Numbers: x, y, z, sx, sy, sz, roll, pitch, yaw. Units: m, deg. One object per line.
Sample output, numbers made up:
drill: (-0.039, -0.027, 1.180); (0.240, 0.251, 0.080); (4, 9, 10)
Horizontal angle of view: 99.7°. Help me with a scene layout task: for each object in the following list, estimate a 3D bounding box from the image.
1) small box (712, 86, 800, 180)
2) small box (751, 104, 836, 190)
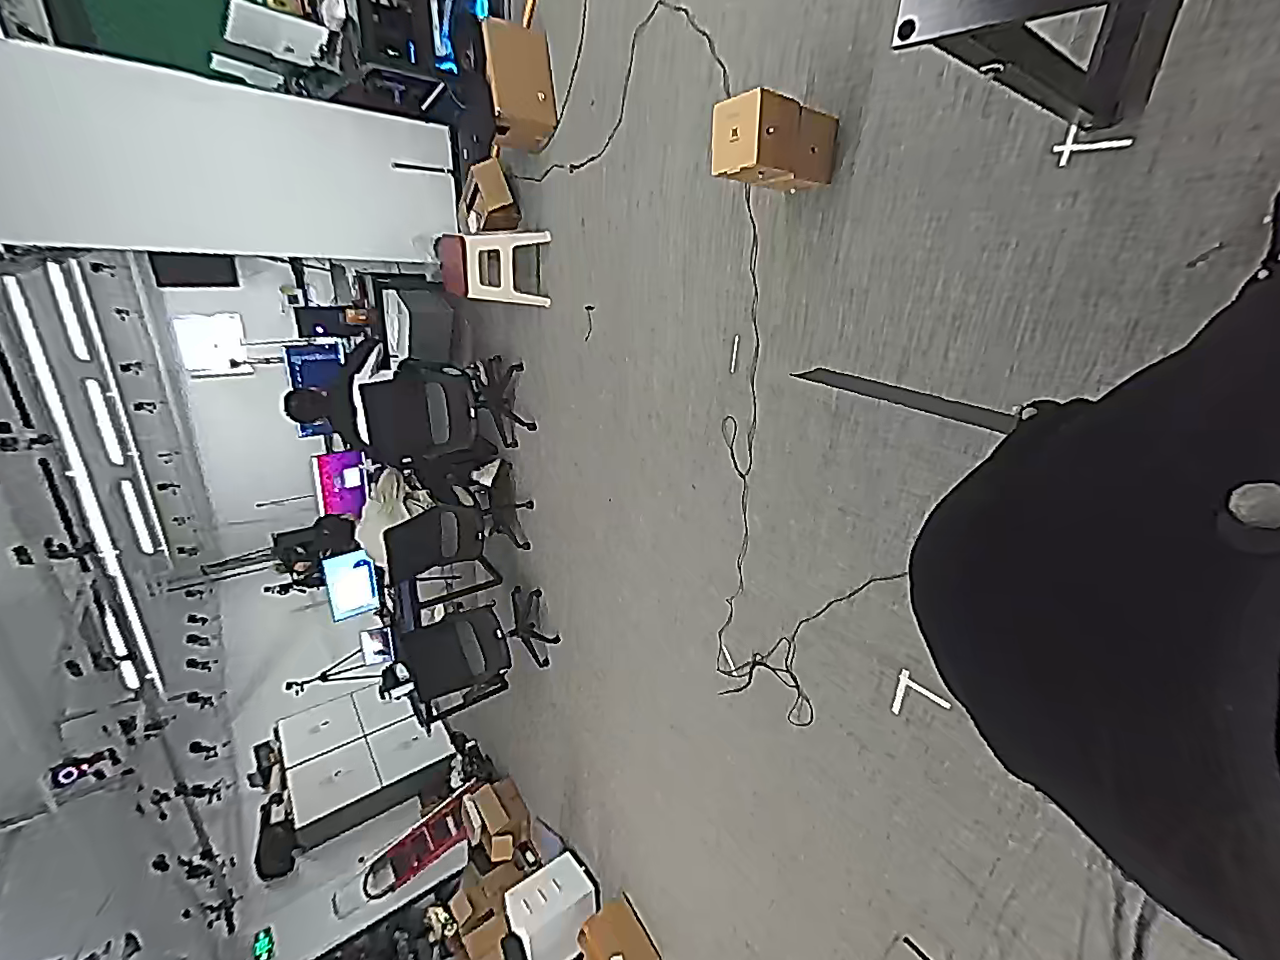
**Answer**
small box: (0.317, -0.932, 1.475); (0.168, 0.176, 0.179); (21, 116, 48)
small box: (0.446, -0.957, 1.570); (0.168, 0.176, 0.179); (26, 122, 48)
